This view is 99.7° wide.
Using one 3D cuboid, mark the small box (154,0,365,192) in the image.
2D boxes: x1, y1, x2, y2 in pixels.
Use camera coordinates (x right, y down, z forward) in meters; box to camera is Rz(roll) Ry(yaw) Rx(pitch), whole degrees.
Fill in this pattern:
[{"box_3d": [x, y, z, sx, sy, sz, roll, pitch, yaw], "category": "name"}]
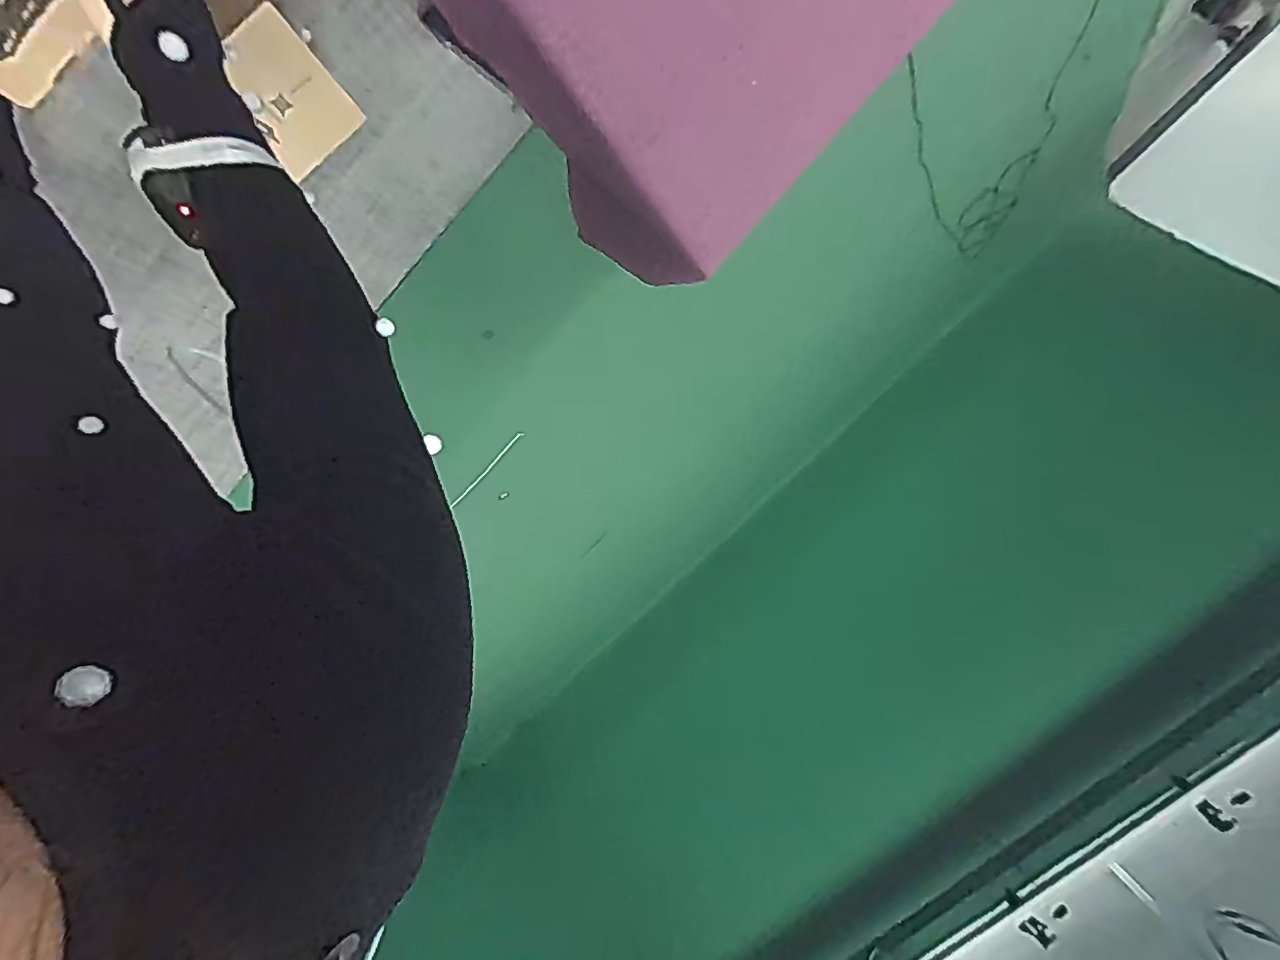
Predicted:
[{"box_3d": [-0.541, -0.565, 0.771, 0.179, 0.176, 0.168, -42, 154, 2], "category": "small box"}]
